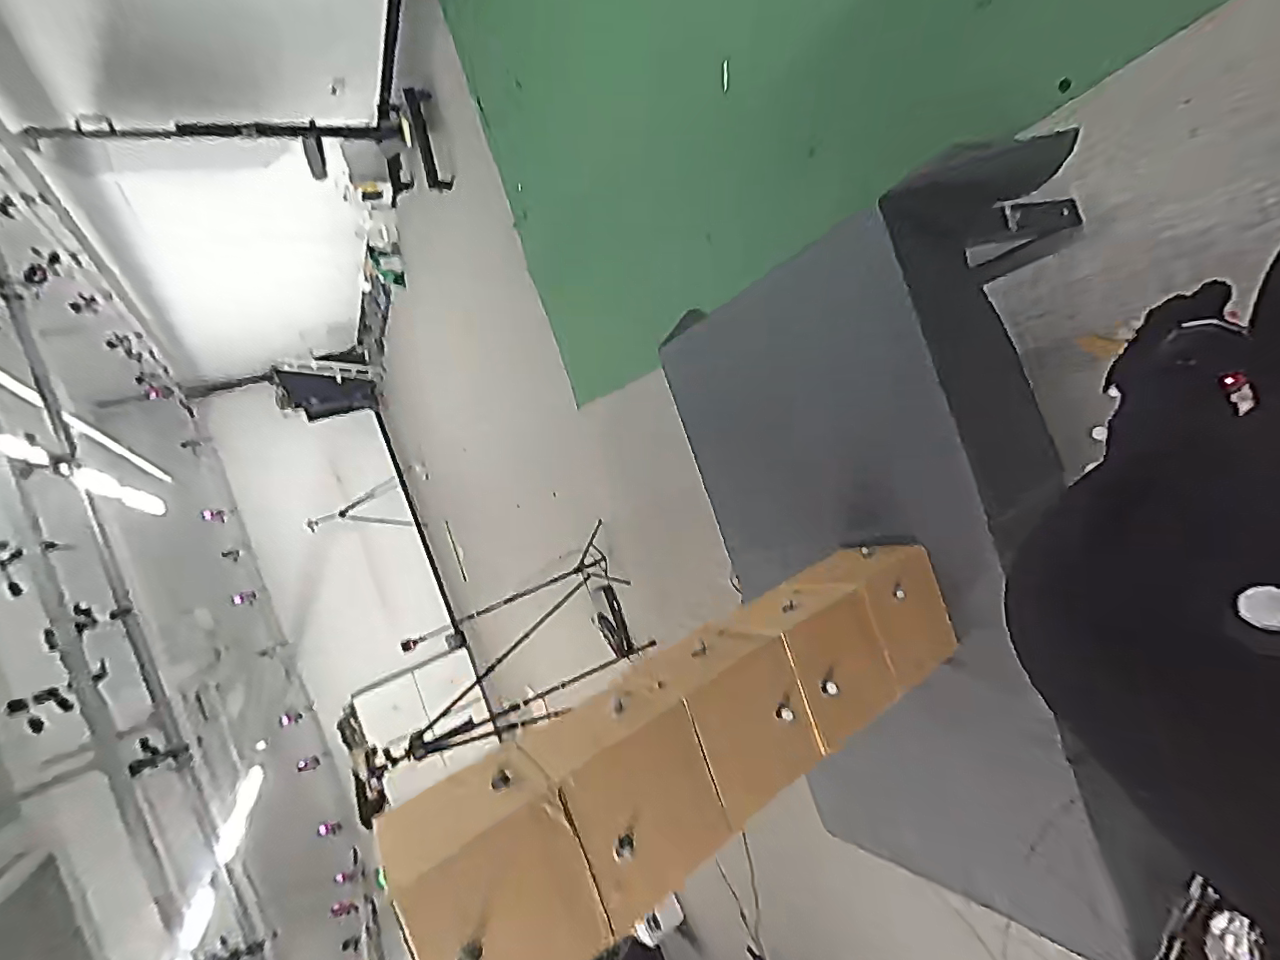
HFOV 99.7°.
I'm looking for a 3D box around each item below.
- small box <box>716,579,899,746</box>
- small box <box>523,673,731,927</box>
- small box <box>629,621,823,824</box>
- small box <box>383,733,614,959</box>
[{"bbox_3d":[0.250,0.257,0.815,0.168,0.176,0.179,-20,90,60],"label":"small box"},{"bbox_3d":[-0.017,0.365,0.658,0.168,0.176,0.179,-19,91,59],"label":"small box"},{"bbox_3d":[0.116,0.309,0.738,0.168,0.176,0.179,-16,94,60],"label":"small box"},{"bbox_3d":[-0.150,0.411,0.575,0.168,0.176,0.179,-14,96,58],"label":"small box"}]
